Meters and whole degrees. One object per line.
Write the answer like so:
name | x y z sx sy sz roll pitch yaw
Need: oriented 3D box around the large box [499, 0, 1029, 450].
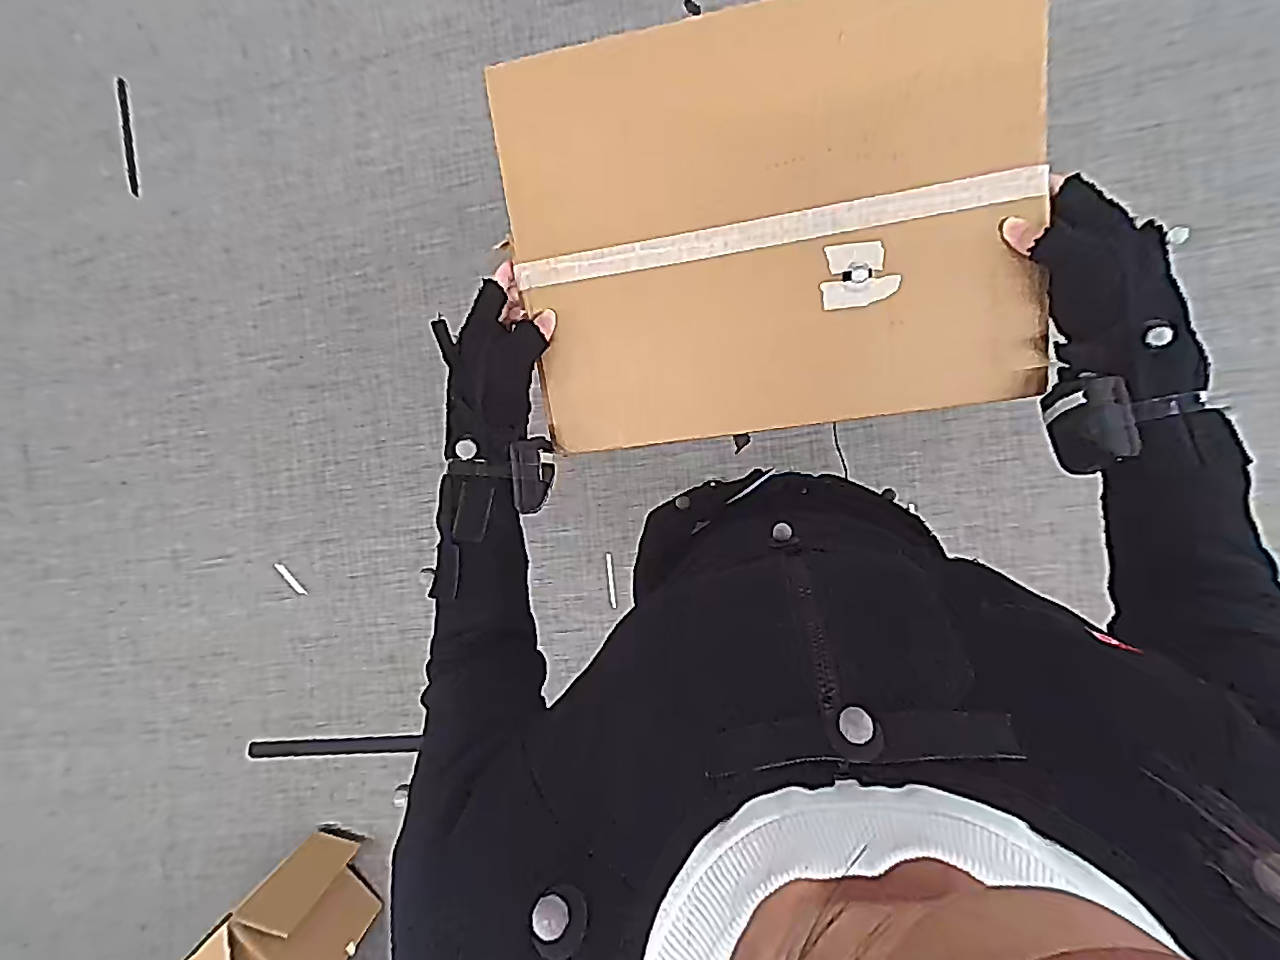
large box | 0.116 -0.231 0.586 0.408 0.320 0.320 -7 102 9
